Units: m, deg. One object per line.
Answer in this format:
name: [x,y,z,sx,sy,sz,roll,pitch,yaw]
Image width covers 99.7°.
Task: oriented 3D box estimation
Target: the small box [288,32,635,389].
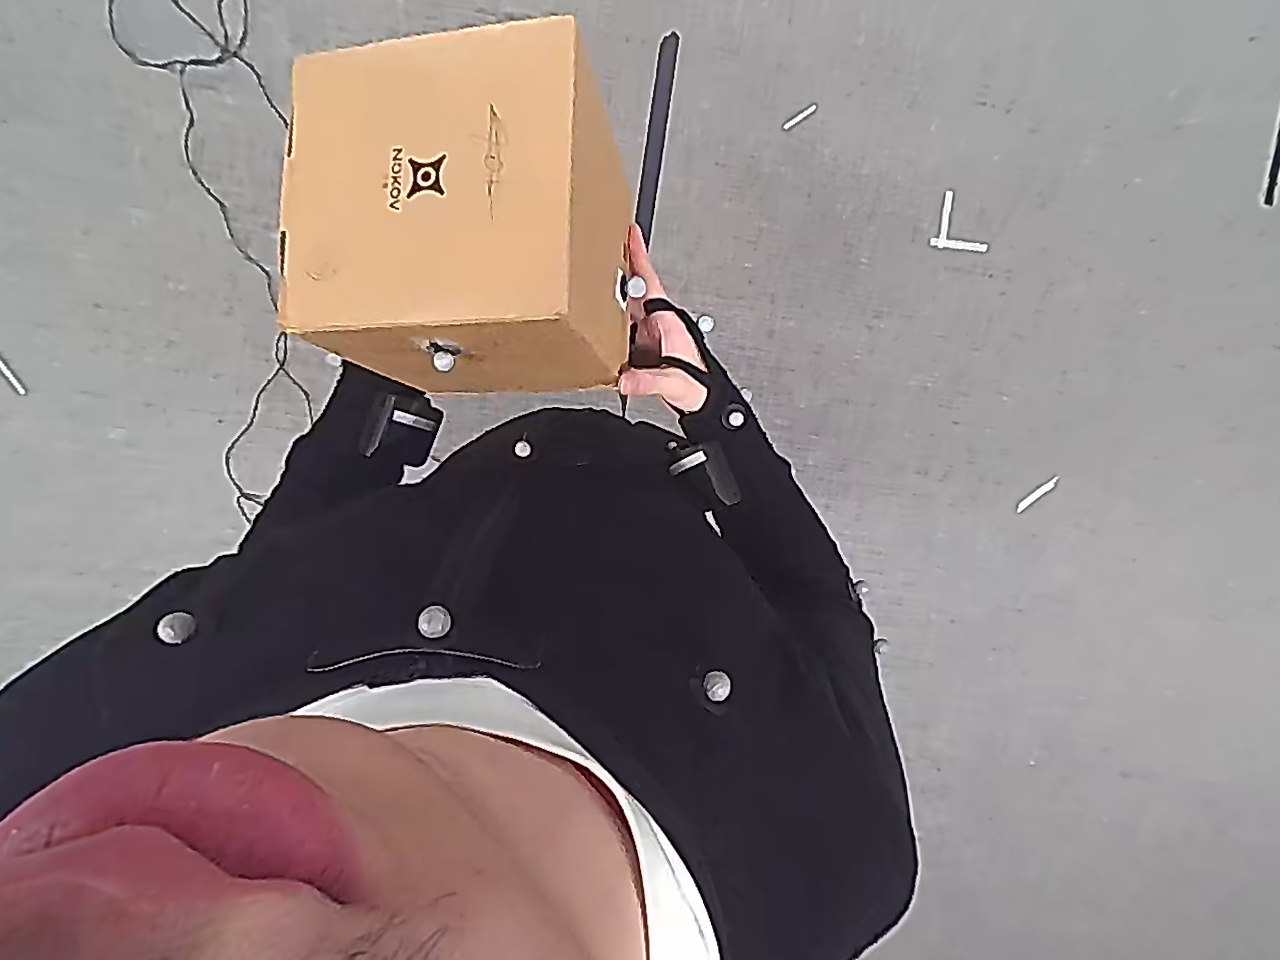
small box: [-0.107,-0.163,0.388,0.179,0.176,0.168,1,87,10]
